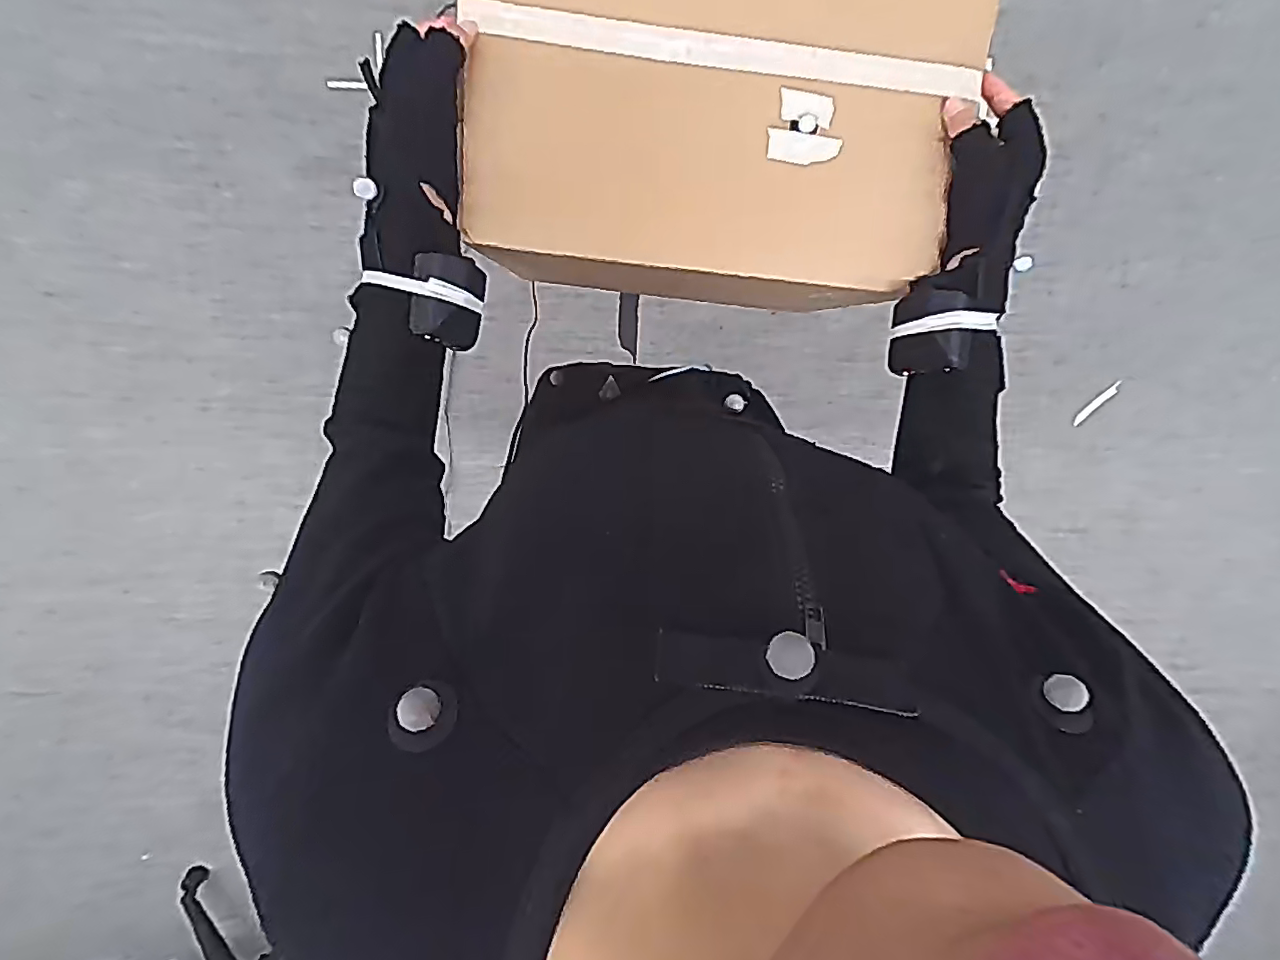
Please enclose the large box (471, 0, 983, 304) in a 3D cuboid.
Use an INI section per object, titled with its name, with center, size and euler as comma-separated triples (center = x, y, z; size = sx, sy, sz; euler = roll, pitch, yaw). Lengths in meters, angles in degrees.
[large box]
center = 0.058, -0.372, 0.573
size = 0.408, 0.320, 0.320
euler = 5, 106, -5
